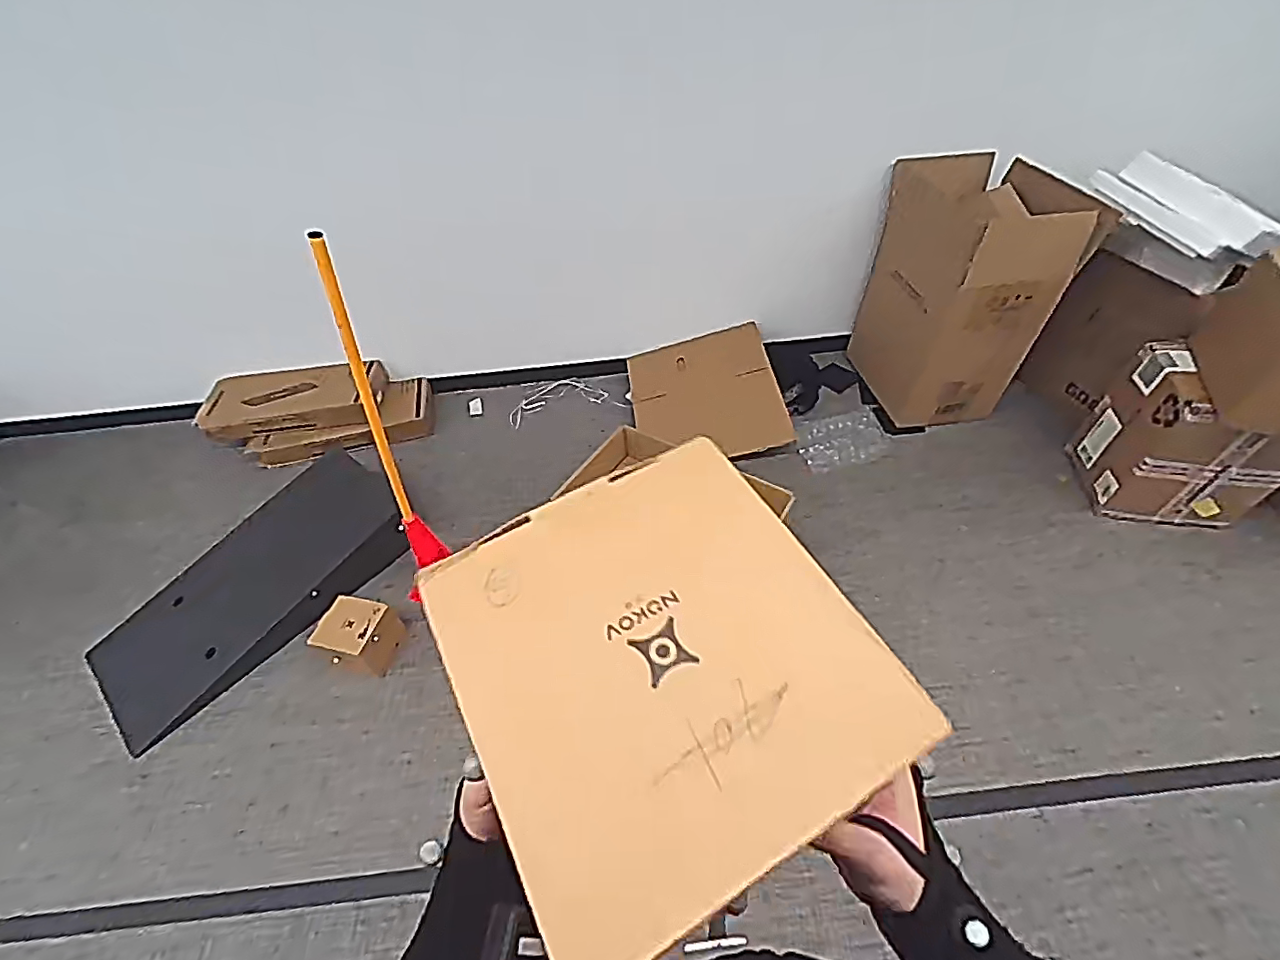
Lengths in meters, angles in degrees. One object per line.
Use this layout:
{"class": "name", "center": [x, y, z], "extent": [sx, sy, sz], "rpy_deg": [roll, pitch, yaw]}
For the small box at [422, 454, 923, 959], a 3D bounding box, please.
{"class": "small box", "center": [0.006, 0.124, 0.306], "extent": [0.168, 0.176, 0.179], "rpy_deg": [-27, 57, -15]}
